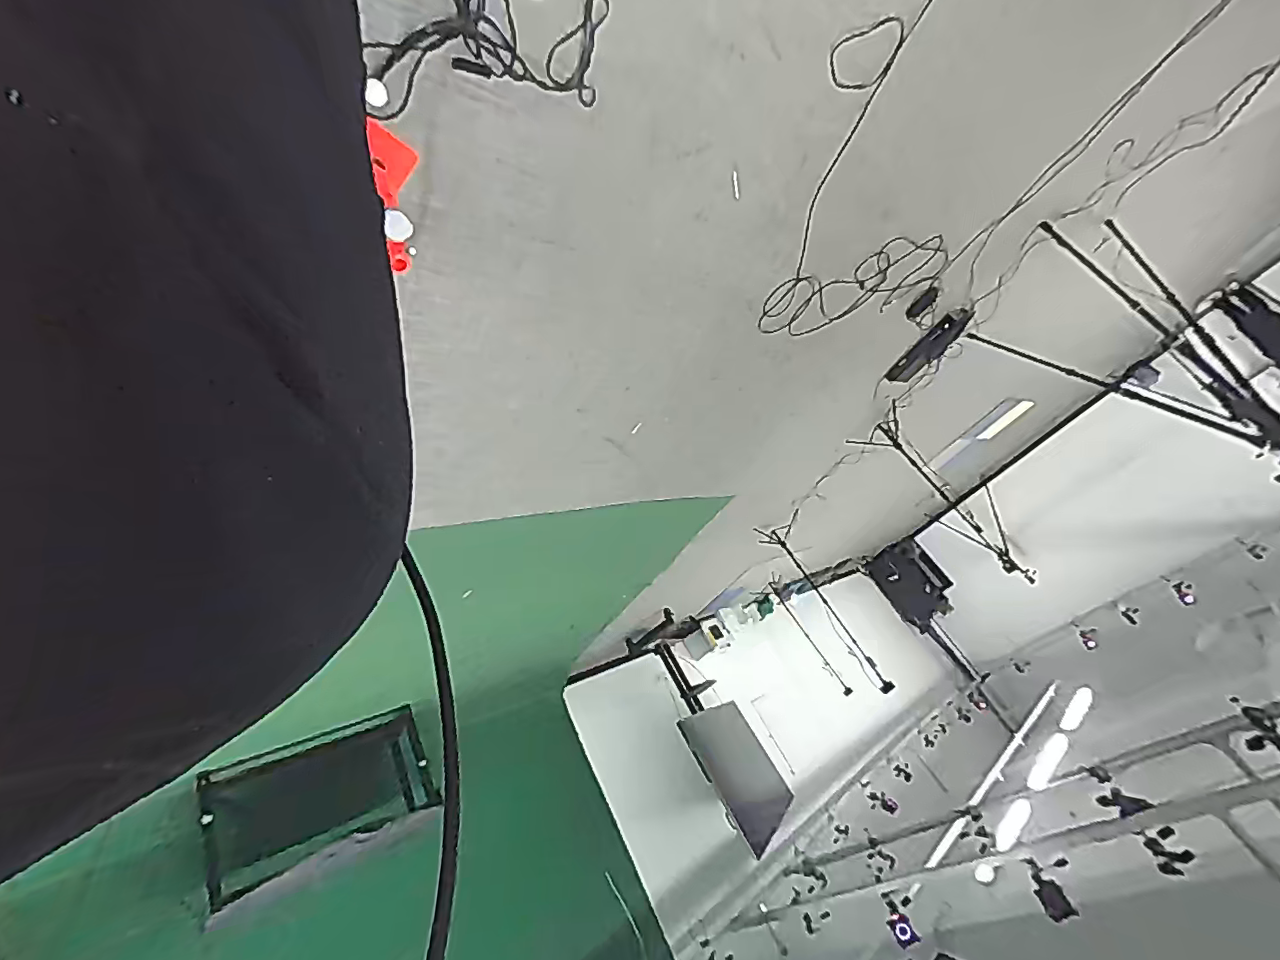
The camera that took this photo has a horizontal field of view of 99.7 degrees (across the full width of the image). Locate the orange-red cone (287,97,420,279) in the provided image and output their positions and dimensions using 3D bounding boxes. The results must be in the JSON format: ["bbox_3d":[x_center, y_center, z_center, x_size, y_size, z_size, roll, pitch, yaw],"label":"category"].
[{"bbox_3d":[-0.496,-0.506,1.026,0.198,0.360,0.199,-40,153,19],"label":"orange-red cone"}]
